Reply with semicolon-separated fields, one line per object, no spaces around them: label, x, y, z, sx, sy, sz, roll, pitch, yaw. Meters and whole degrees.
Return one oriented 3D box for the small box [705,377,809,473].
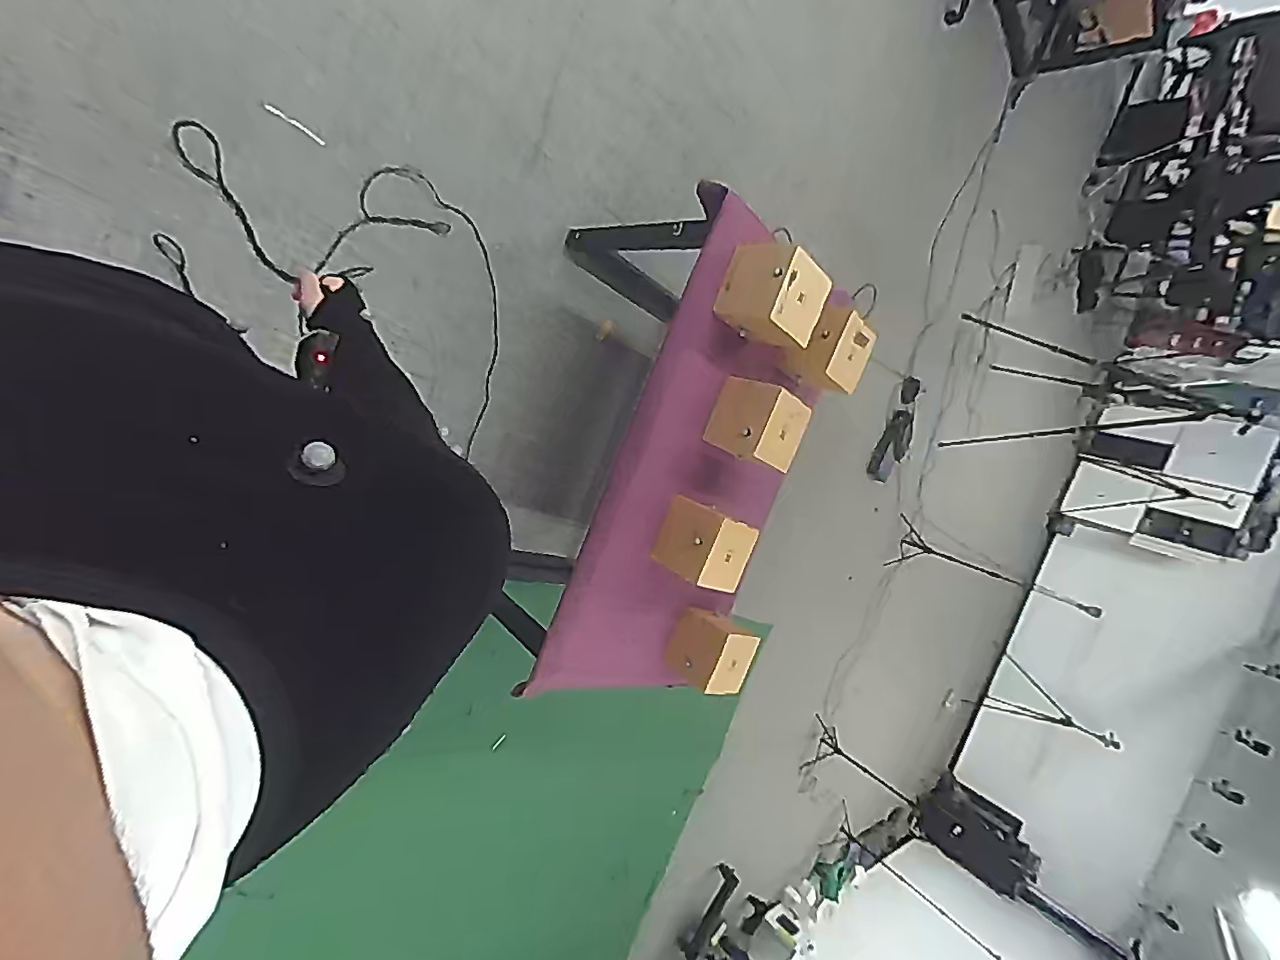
small box;0.289;-0.140;1.367;0.168;0.176;0.179;21;93;-46

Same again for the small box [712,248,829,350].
small box;0.301;-0.424;1.257;0.179;0.176;0.168;18;95;-47

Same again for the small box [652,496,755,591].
small box;0.155;0.161;1.376;0.168;0.176;0.179;22;91;-45

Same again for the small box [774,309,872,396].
small box;0.492;-0.352;1.465;0.168;0.176;0.179;21;94;-45

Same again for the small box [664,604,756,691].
small box;0.193;0.476;1.537;0.168;0.176;0.179;23;90;-44
